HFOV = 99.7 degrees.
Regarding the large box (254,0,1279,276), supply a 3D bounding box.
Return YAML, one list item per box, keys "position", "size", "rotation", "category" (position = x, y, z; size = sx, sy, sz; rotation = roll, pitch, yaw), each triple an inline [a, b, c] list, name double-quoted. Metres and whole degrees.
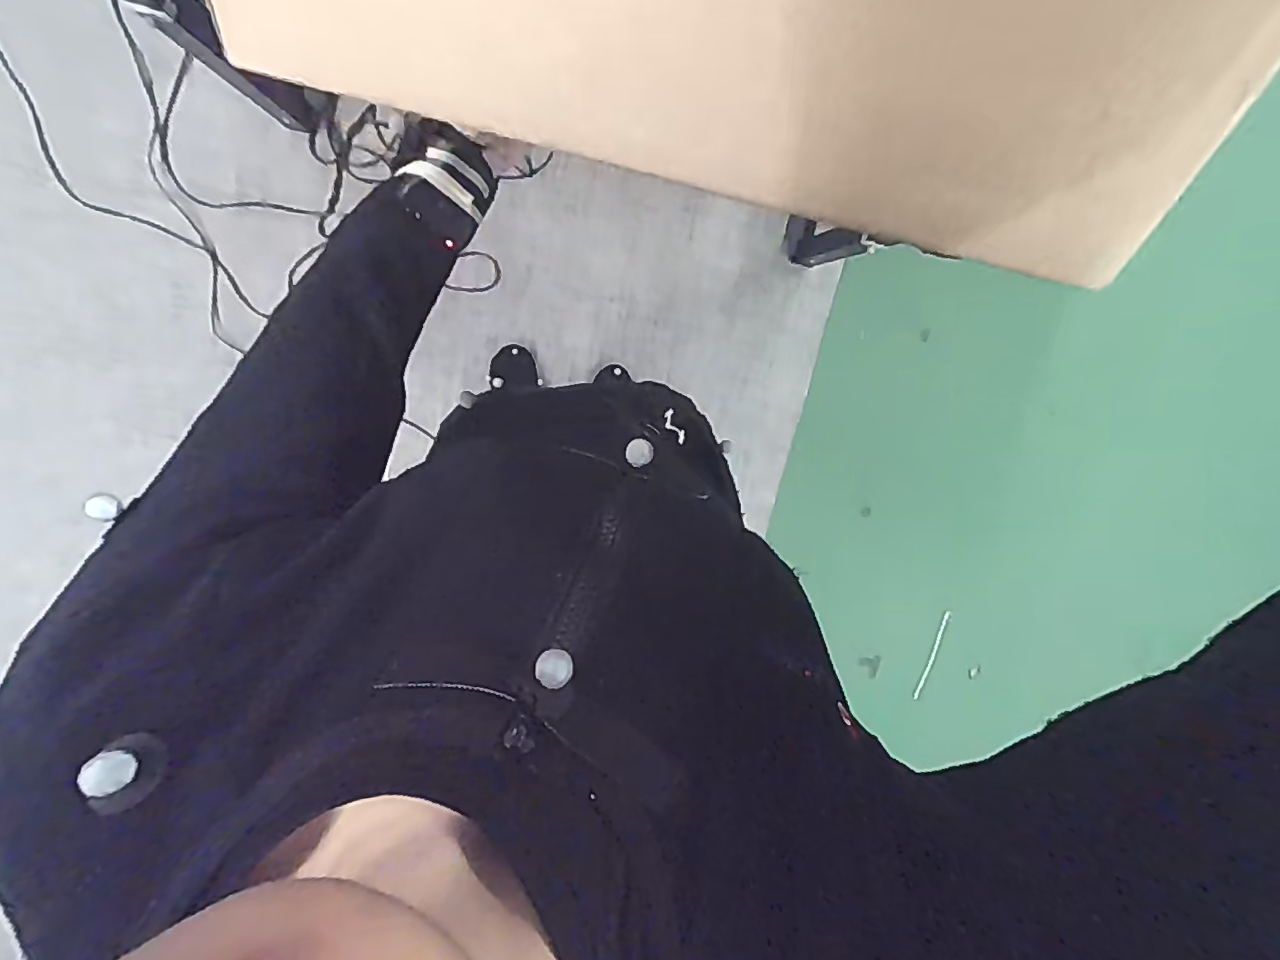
- position: [0.064, -0.337, 0.255]
  size: [0.408, 0.320, 0.320]
  rotation: [16, 134, 7]
  category: "large box"
